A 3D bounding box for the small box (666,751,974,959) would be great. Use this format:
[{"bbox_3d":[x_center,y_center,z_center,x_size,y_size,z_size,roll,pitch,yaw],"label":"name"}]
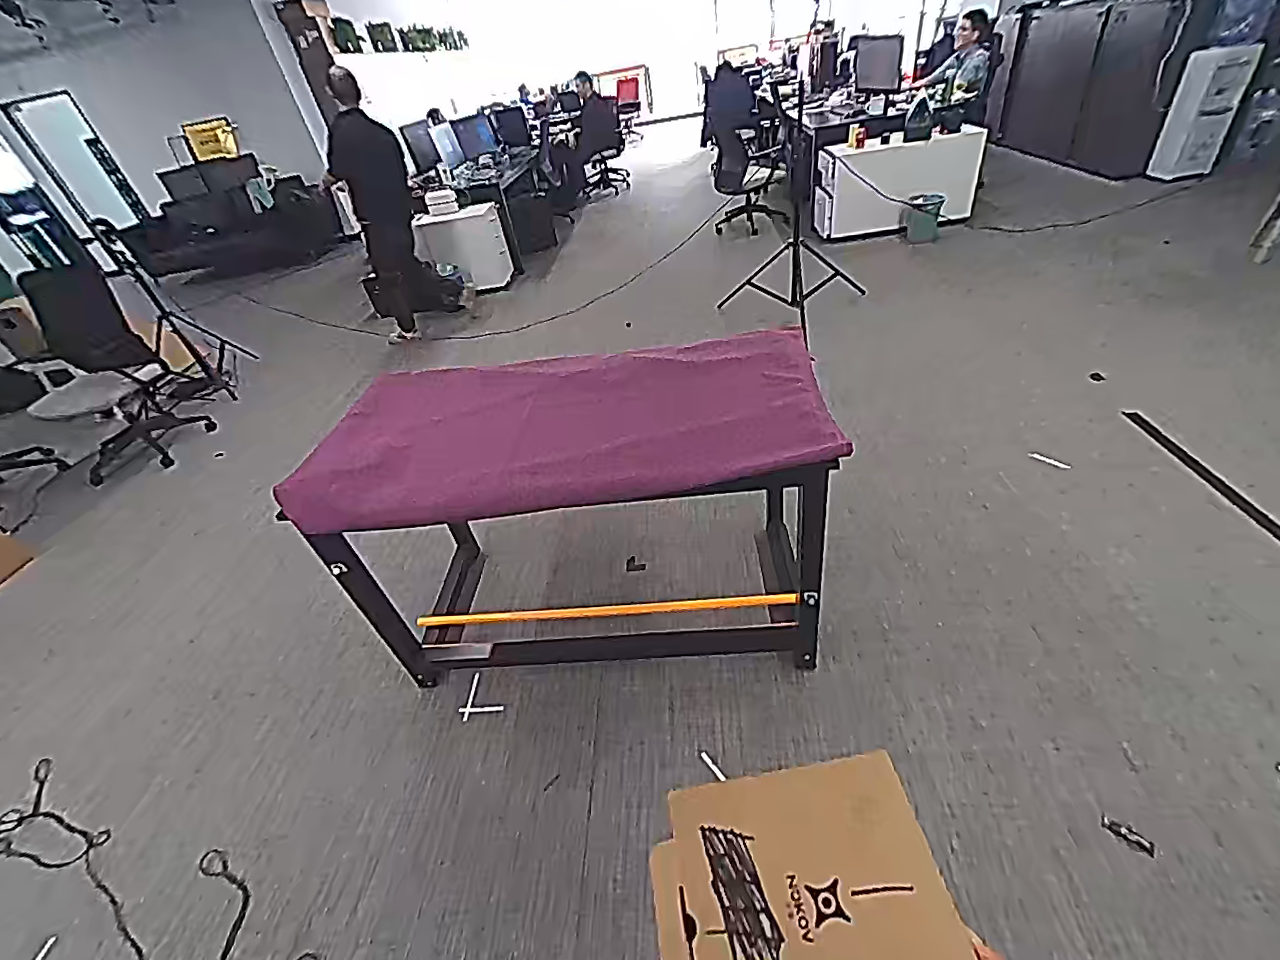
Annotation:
[{"bbox_3d":[0.125,0.337,0.416,0.179,0.176,0.168,-11,44,0],"label":"small box"}]
